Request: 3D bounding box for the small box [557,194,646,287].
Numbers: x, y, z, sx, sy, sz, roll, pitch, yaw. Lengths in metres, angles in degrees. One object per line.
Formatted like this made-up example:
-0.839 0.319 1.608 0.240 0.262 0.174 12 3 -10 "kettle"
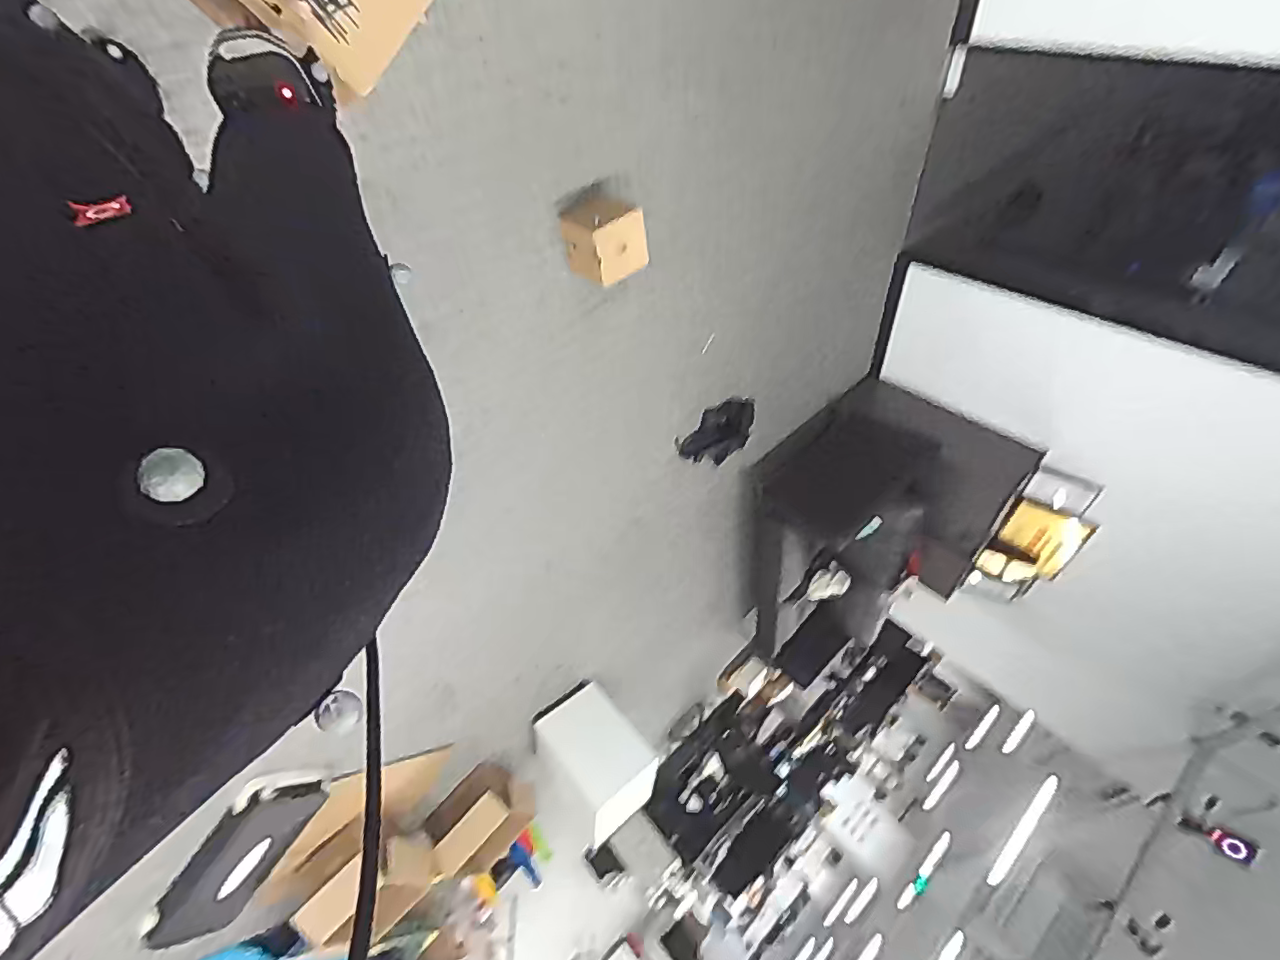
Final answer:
-0.108 -0.690 1.545 0.179 0.176 0.168 -38 145 -20 "small box"
